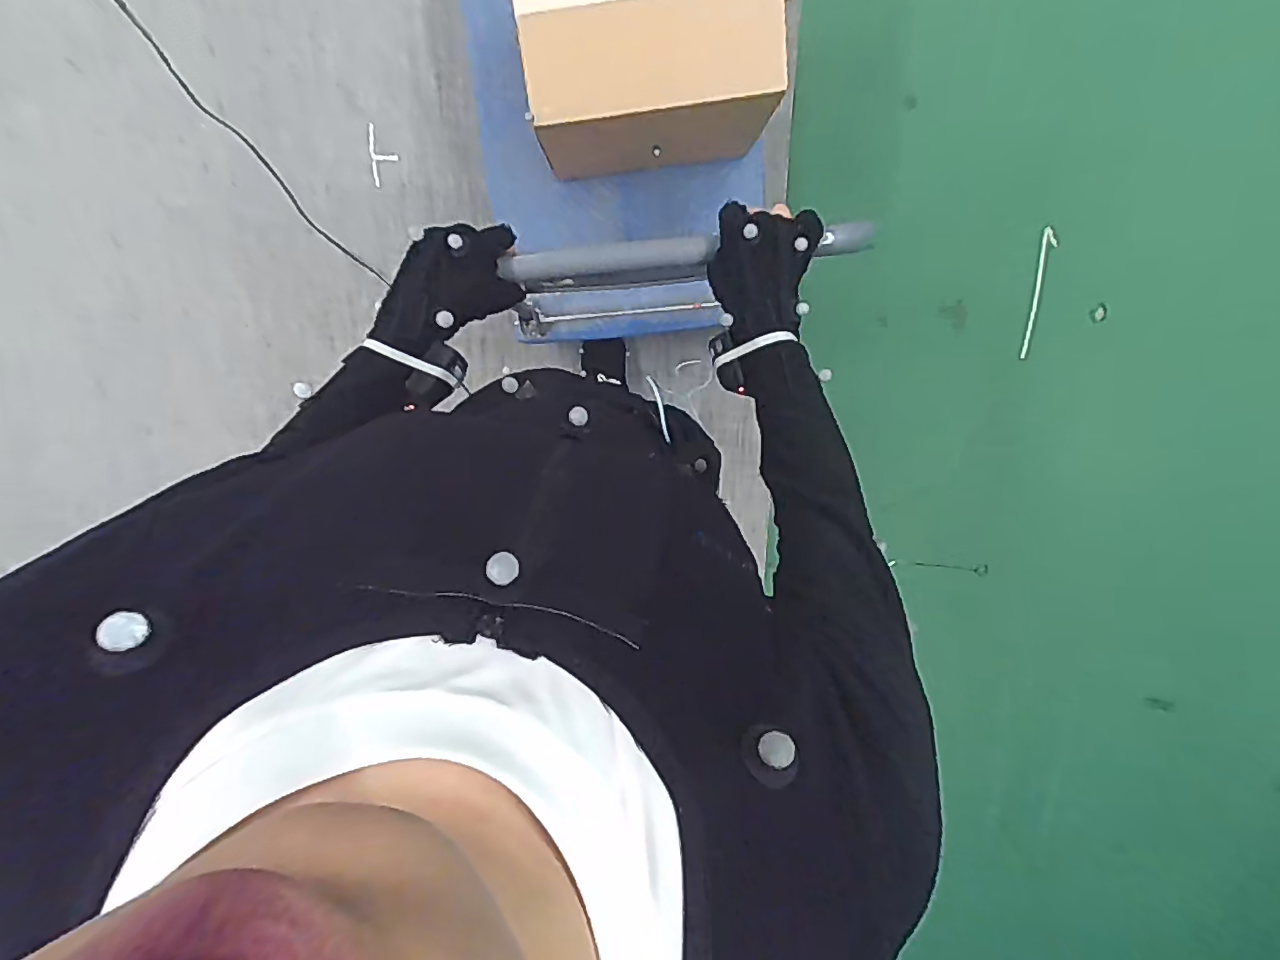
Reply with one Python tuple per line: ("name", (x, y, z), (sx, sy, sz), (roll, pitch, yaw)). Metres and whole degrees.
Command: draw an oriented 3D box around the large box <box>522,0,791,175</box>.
("large box", (0.022, -0.778, 0.961), (0.408, 0.320, 0.320), (-8, 105, 3))
